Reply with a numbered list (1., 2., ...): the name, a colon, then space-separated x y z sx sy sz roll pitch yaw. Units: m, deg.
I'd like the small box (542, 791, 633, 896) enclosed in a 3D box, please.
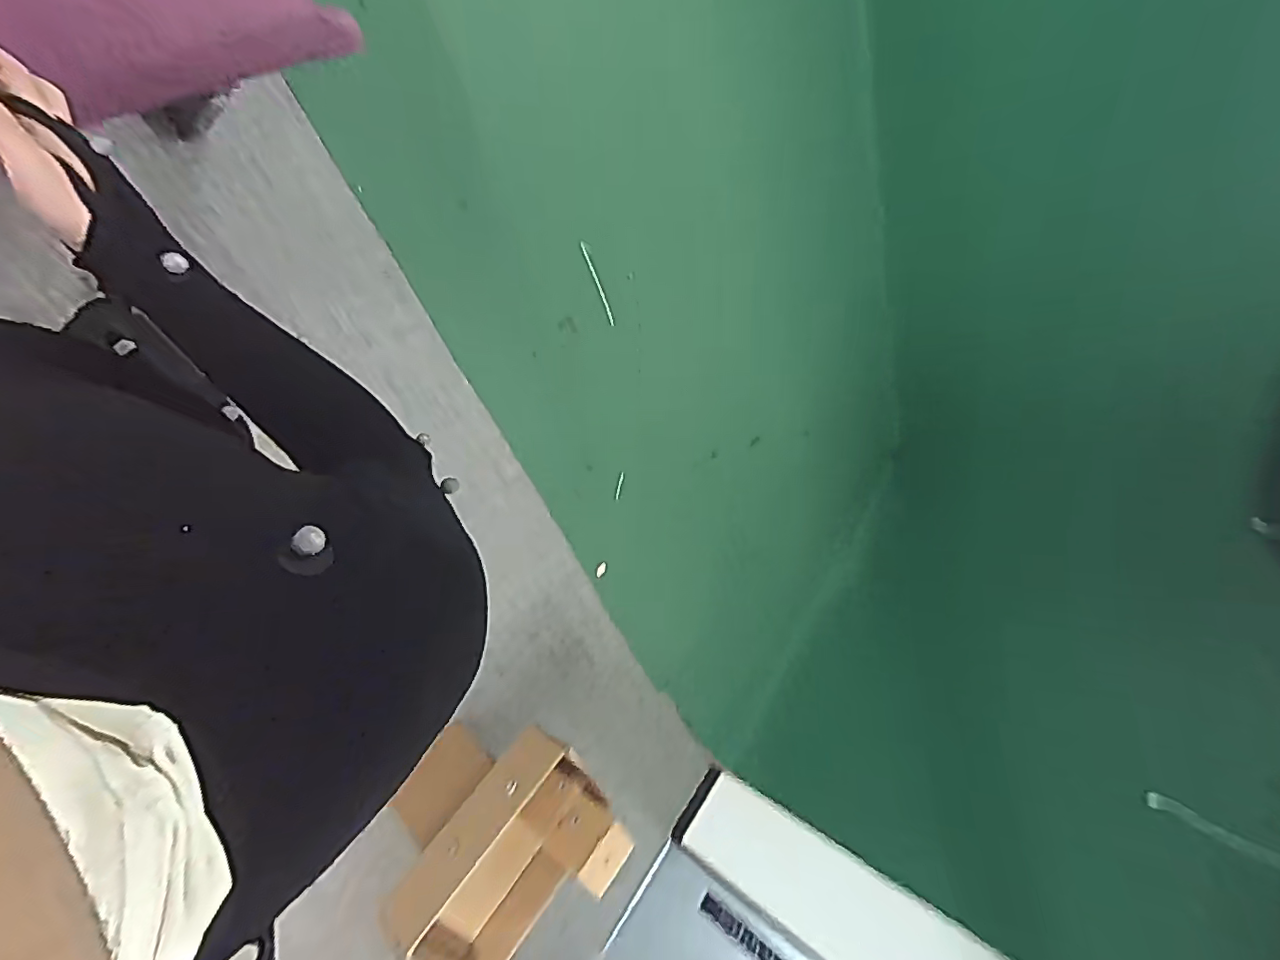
1. small box: -0.153 1.055 1.582 0.168 0.176 0.179 -45 130 -30
